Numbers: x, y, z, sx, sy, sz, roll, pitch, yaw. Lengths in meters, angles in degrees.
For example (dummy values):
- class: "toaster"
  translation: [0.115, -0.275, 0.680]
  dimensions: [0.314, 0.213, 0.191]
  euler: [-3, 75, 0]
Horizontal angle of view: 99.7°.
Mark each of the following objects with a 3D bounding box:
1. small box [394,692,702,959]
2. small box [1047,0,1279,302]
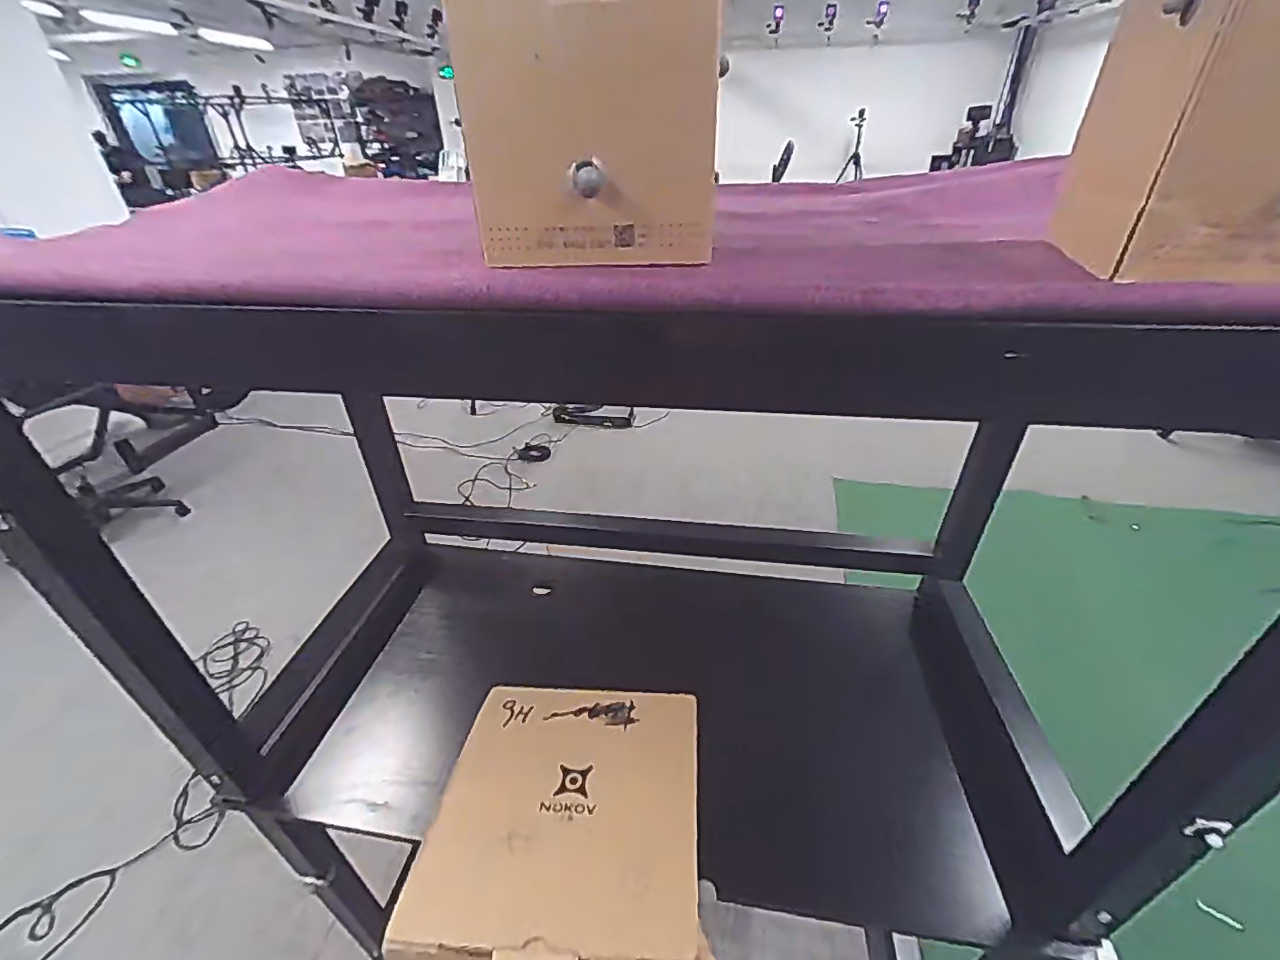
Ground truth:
- class: "small box"
  translation: [-0.039, 0.281, 0.385]
  dimensions: [0.168, 0.176, 0.179]
  euler: [1, 25, 5]
- class: "small box"
  translation: [0.376, -0.209, 0.315]
  dimensions: [0.168, 0.176, 0.179]
  euler: [10, 36, 17]
